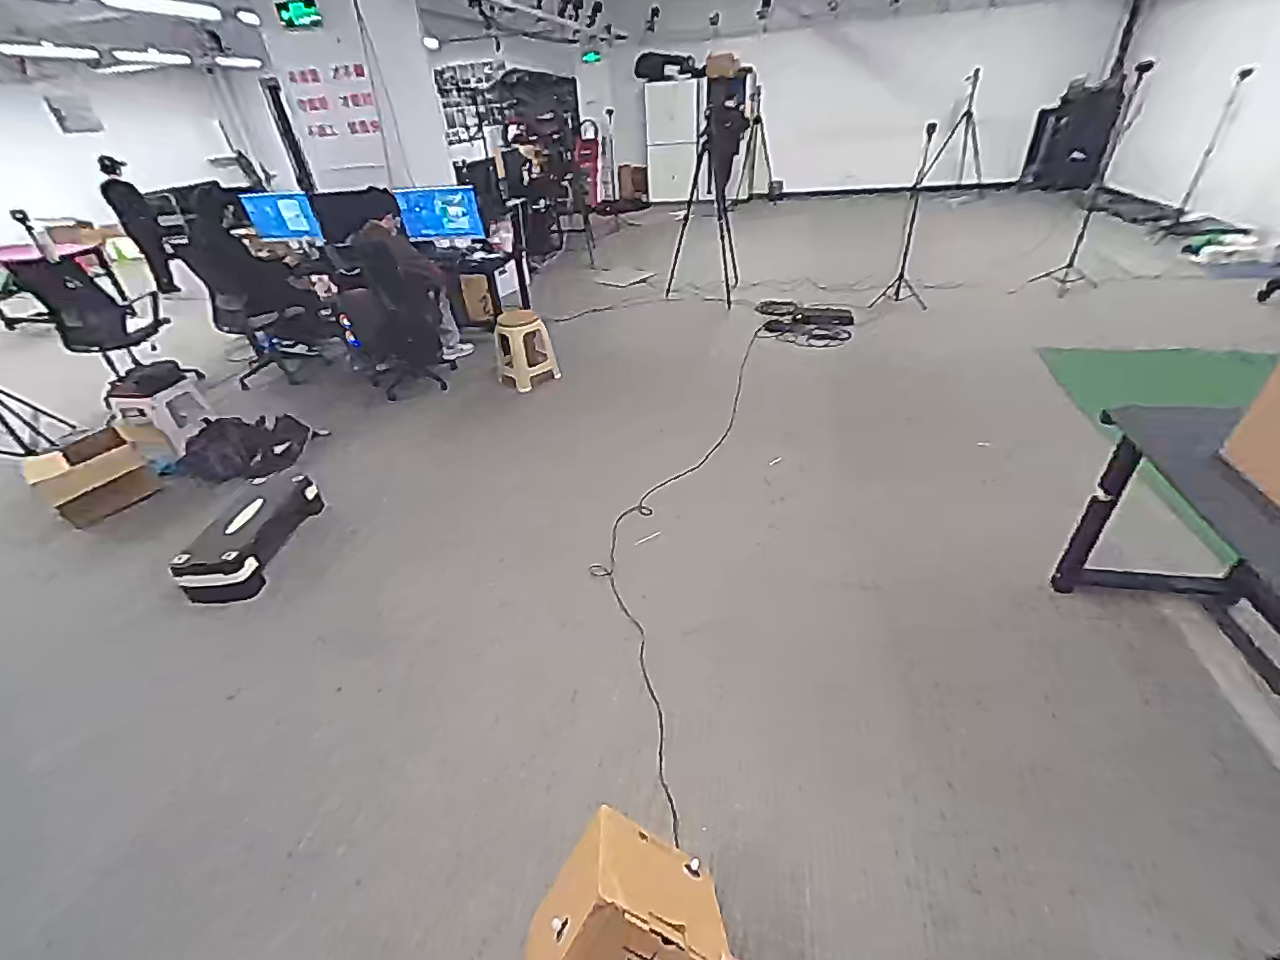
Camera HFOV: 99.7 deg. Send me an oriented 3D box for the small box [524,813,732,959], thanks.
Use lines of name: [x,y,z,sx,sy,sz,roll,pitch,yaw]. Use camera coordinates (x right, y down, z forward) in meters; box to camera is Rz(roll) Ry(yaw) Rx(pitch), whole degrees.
small box: [-0.023,0.520,0.598,0.168,0.179,0.176,32,-4,-1]
